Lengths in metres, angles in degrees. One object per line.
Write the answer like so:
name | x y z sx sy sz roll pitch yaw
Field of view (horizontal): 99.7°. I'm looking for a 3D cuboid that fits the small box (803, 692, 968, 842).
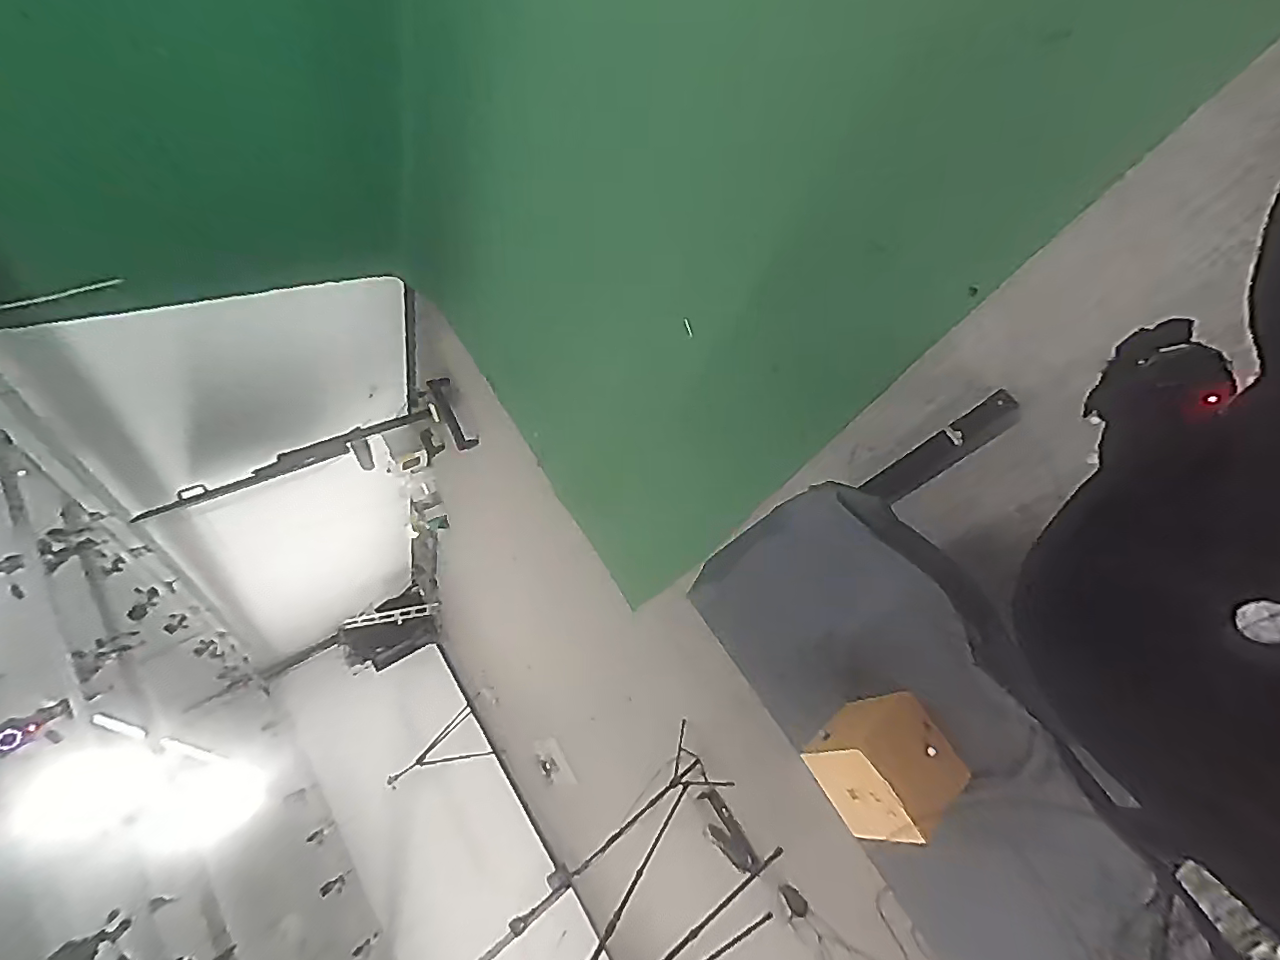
small box | 0.441 0.509 0.973 0.168 0.176 0.179 55 145 13
